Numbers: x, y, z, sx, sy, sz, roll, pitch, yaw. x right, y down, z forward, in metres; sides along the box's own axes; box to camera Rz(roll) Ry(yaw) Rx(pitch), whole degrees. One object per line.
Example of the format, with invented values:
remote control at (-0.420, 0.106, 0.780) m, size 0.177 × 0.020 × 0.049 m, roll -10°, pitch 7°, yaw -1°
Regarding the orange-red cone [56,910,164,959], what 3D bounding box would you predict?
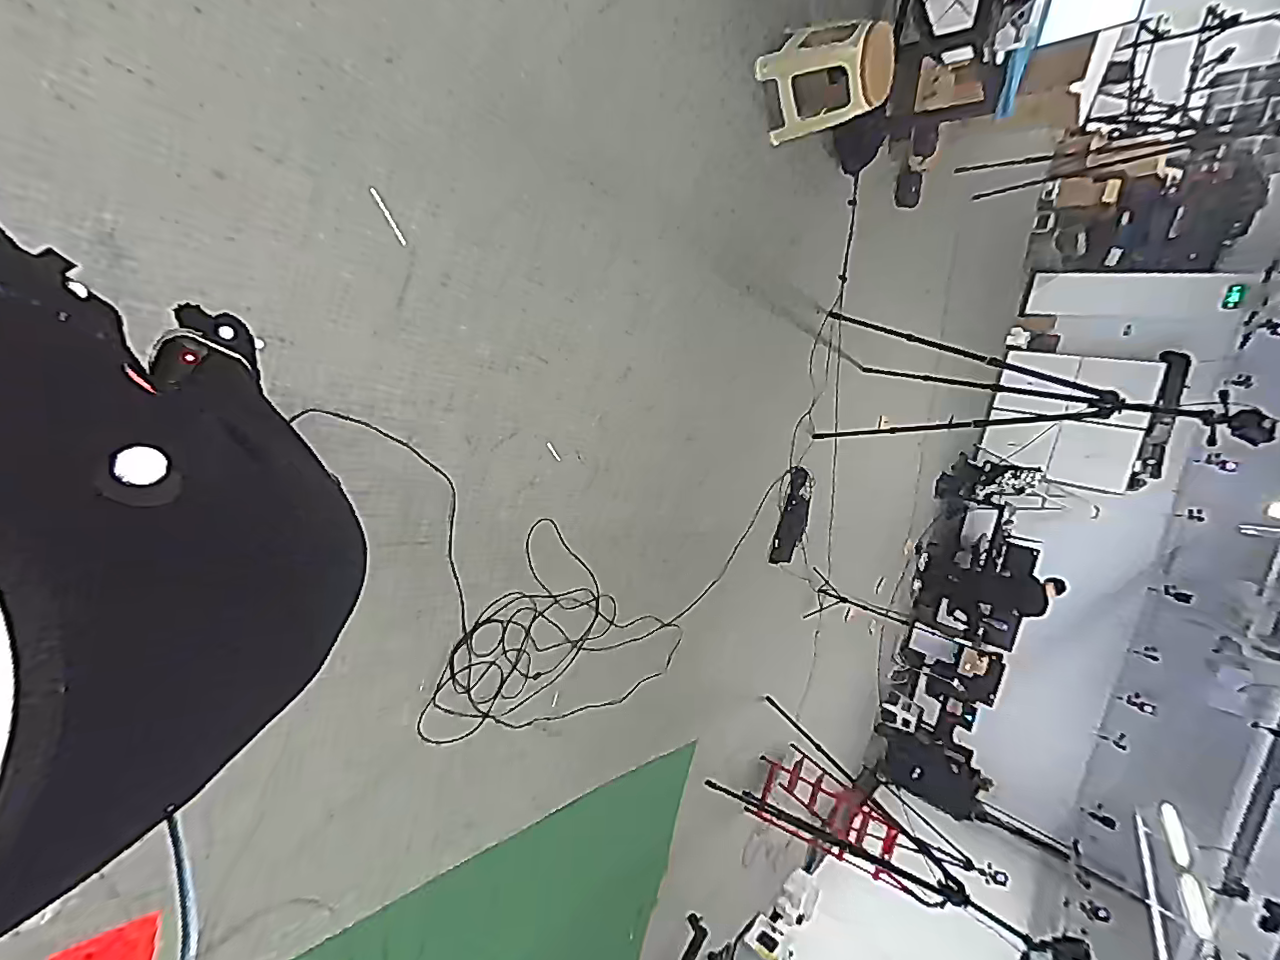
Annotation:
orange-red cone at (-1.156, 1.205, 1.197) m, size 0.198 × 0.360 × 0.199 m, roll 5°, pitch 99°, yaw -52°
